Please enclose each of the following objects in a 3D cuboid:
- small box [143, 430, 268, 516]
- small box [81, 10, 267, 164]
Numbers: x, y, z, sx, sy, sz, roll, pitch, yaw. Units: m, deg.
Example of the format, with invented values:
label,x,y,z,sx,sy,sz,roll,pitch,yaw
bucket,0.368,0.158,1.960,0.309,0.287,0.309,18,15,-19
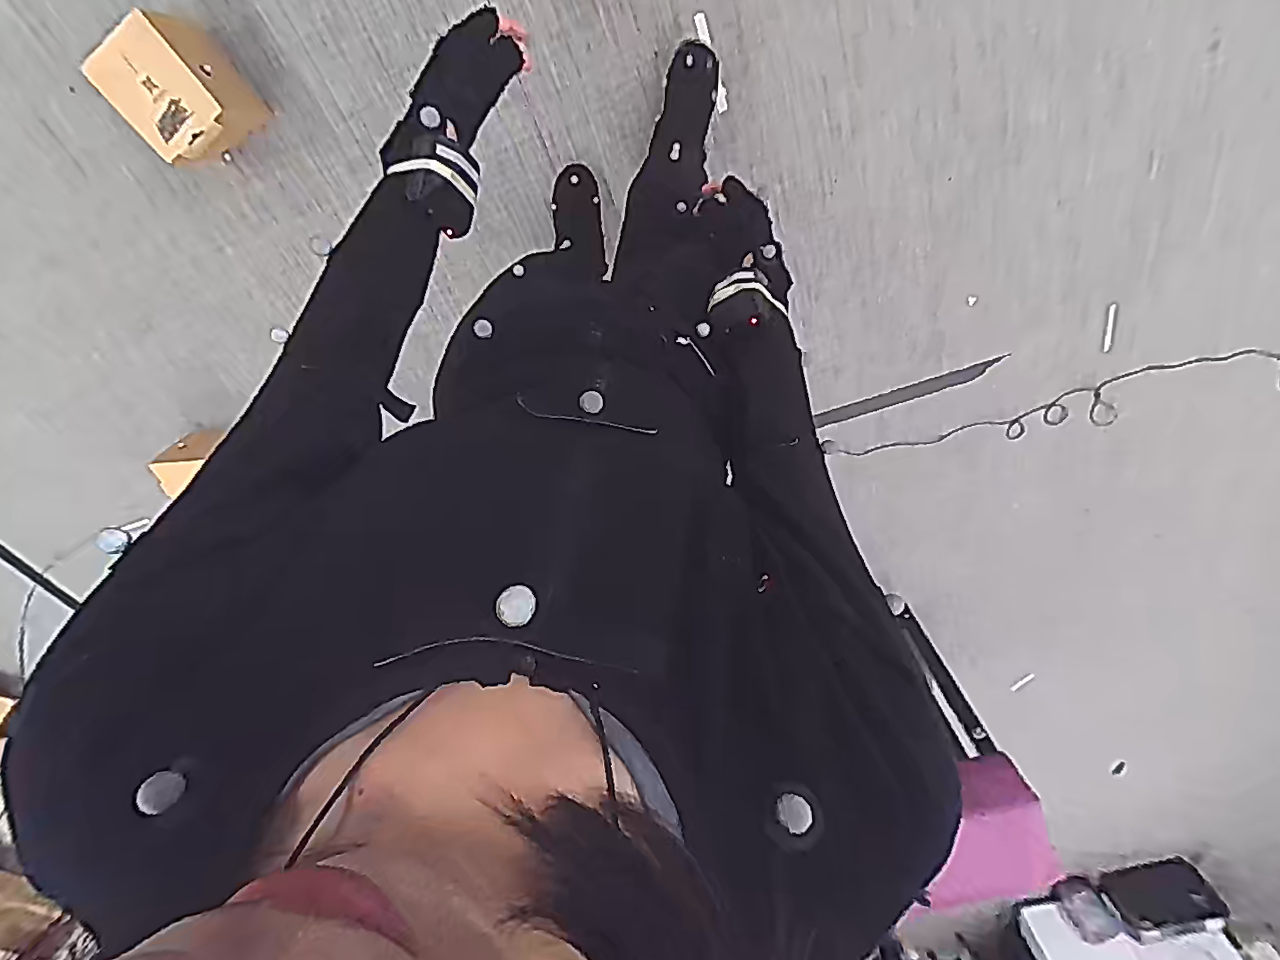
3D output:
label,x,y,z,sx,sy,sz,roll,pitch,yaw
small box,-1.171,-0.022,1.473,0.179,0.176,0.168,-6,124,-2
small box,-0.876,-0.743,1.039,0.168,0.176,0.179,-28,119,14
